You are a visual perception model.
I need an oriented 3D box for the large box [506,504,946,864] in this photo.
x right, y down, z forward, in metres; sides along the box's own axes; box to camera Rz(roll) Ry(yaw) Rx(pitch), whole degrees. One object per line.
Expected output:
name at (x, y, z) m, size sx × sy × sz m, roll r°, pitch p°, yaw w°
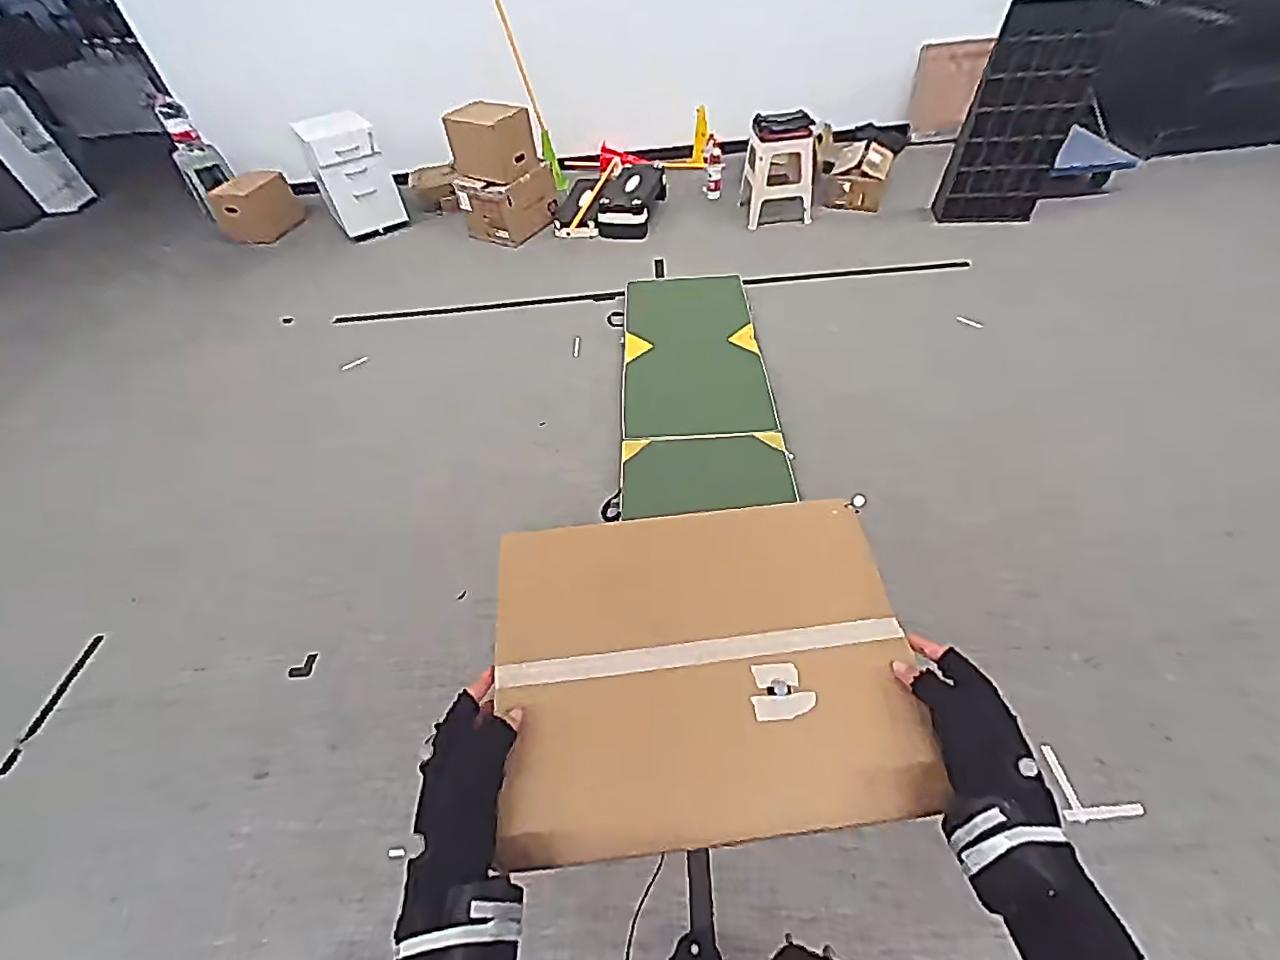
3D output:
large box at (0.063, 0.260, 0.677) m, size 0.408 × 0.320 × 0.320 m, roll -6°, pitch 57°, yaw -3°
